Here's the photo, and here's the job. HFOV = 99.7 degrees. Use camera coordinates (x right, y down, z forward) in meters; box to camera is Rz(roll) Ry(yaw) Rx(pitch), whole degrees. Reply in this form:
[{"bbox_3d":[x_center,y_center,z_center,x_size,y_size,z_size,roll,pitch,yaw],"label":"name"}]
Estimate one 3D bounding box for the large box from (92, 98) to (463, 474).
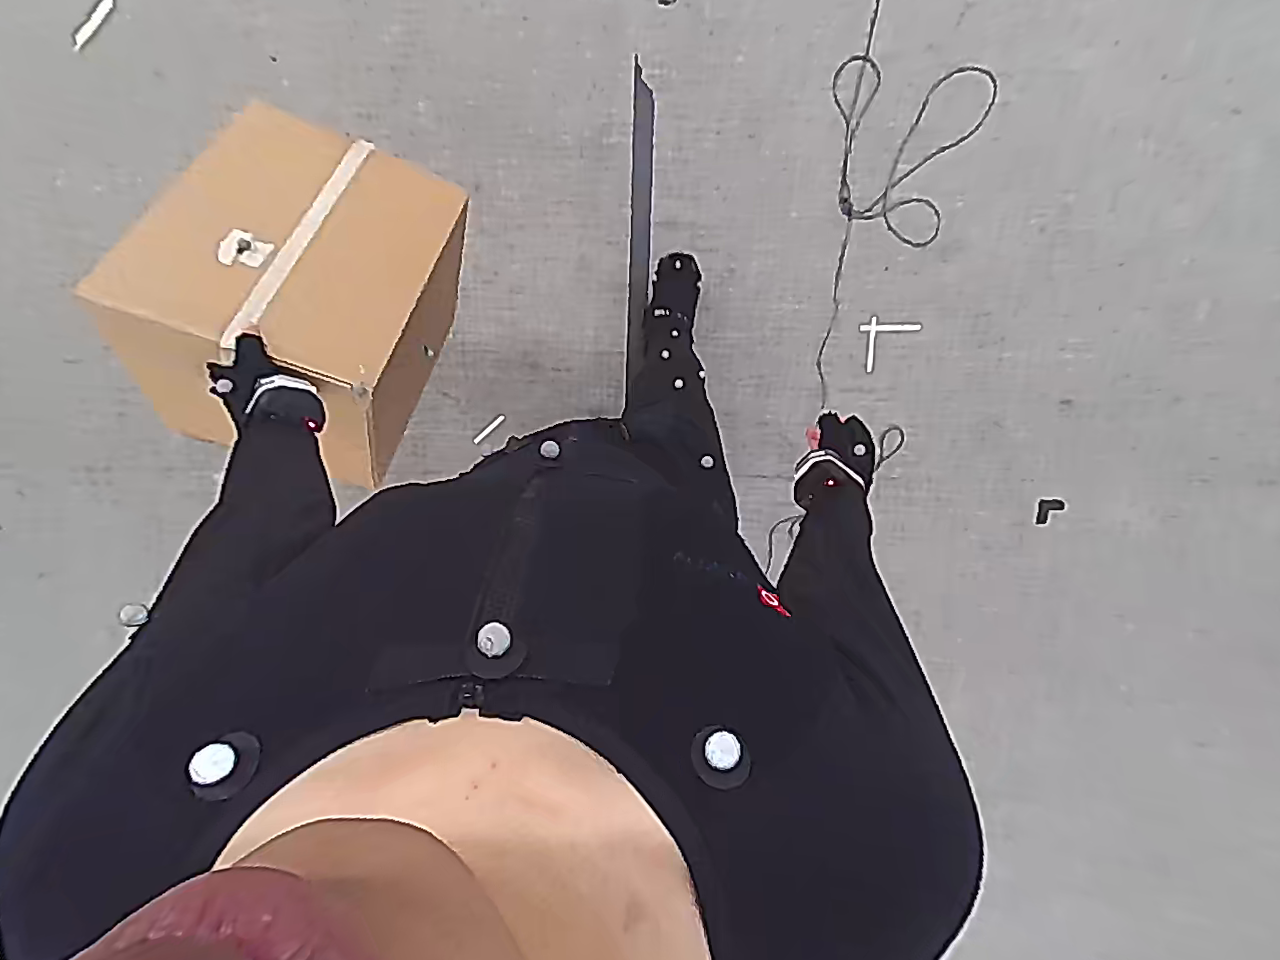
[{"bbox_3d":[-0.506,-0.281,0.861,0.320,0.320,0.408,18,62,-15],"label":"large box"}]
